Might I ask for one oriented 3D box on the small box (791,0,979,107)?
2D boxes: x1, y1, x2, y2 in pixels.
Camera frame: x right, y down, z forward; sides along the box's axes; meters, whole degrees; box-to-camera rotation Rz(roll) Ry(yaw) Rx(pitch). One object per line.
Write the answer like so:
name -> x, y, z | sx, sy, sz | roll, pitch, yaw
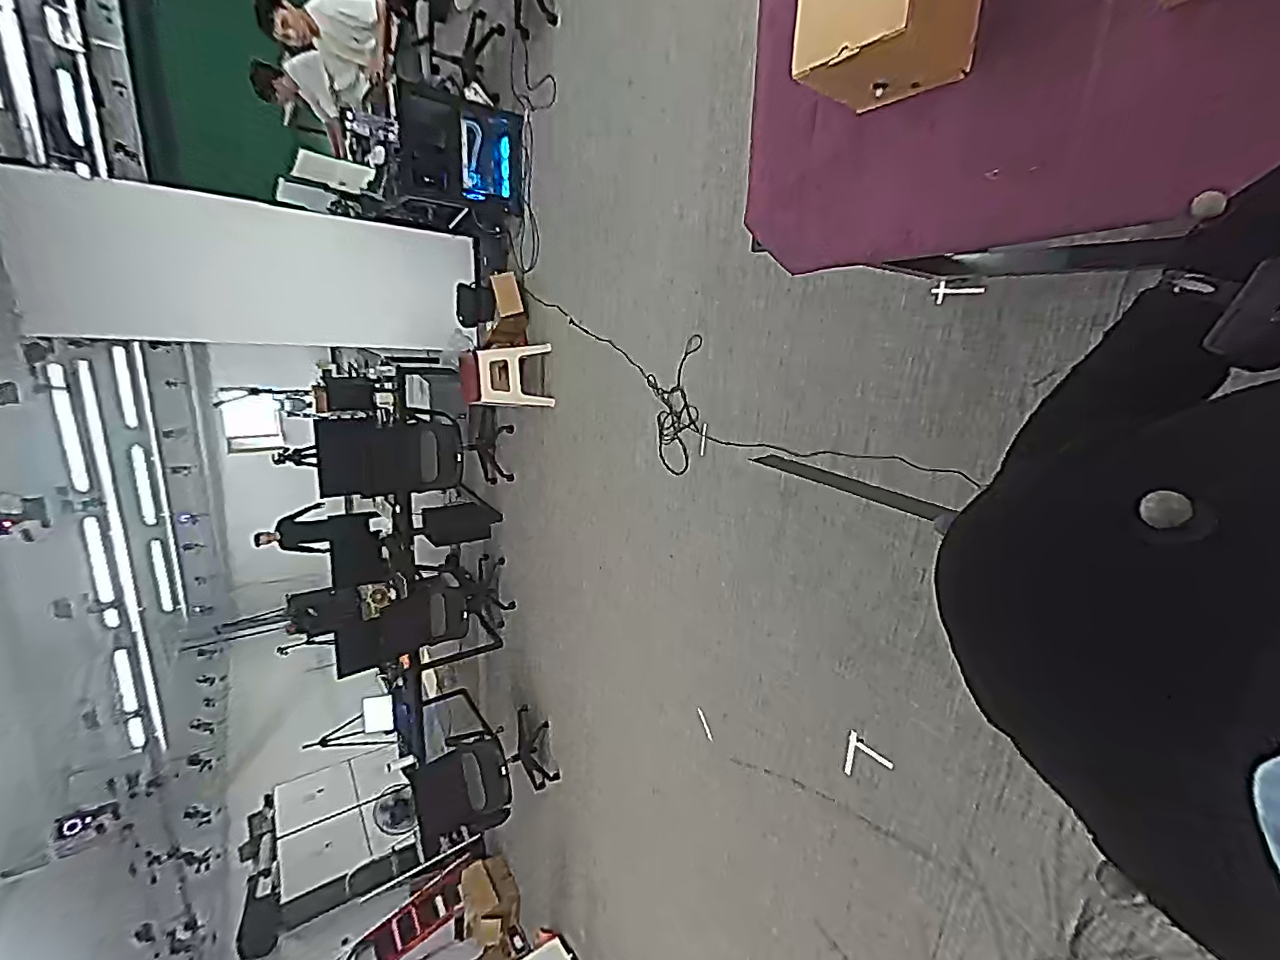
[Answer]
small box -> 0.325, -0.630, 0.708 | 0.168, 0.176, 0.179 | 20, 114, 51
